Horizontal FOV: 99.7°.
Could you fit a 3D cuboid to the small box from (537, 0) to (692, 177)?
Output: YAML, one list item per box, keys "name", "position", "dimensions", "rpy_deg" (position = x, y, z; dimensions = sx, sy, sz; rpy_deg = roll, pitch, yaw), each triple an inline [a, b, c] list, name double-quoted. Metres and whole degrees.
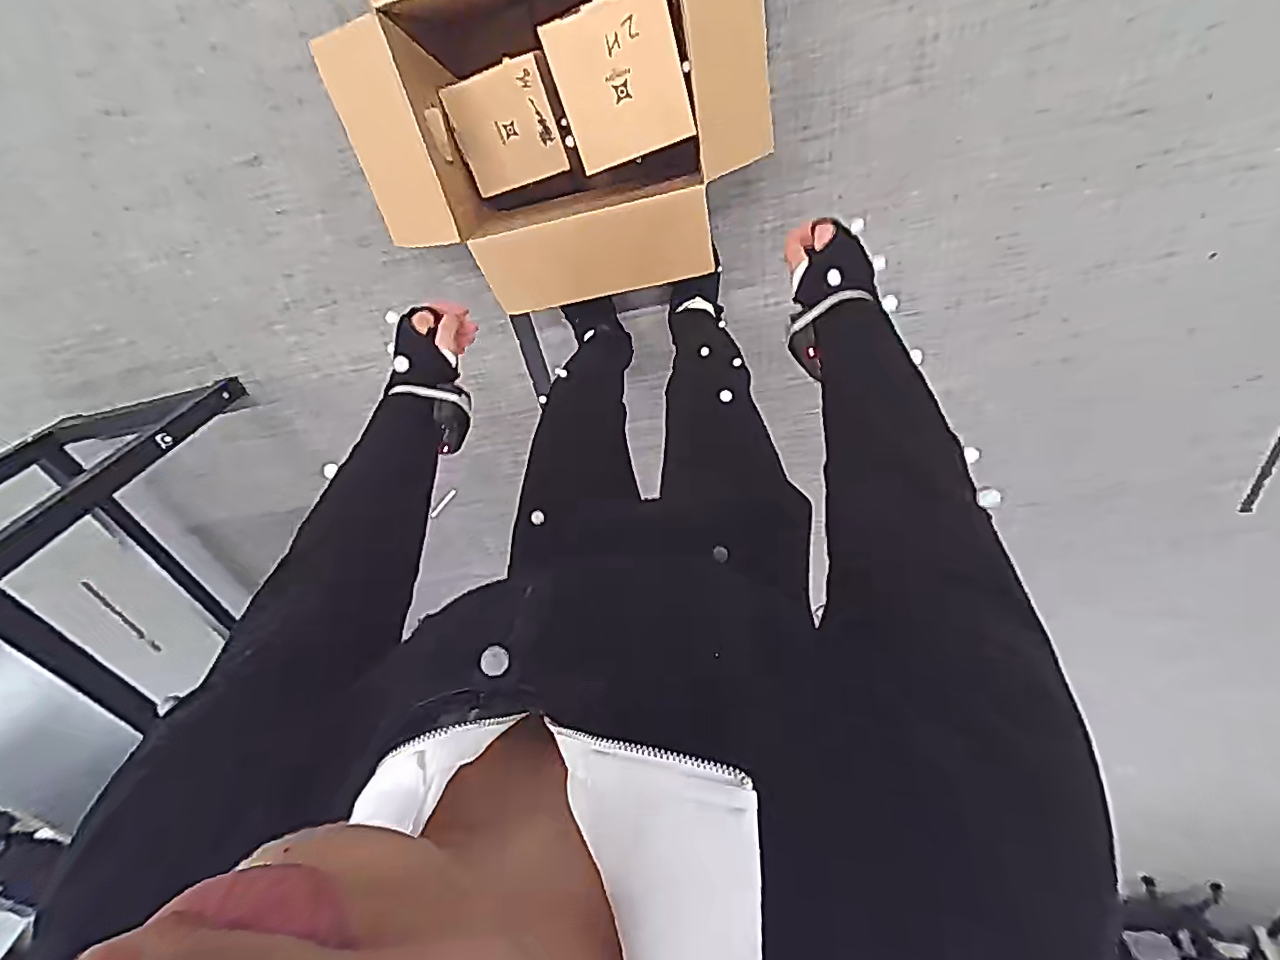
- name: "small box"
  position: [-0.029, -0.569, 0.780]
  dimensions: [0.168, 0.176, 0.179]
  rpy_deg: [-16, 125, 10]

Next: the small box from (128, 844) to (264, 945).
- name: "small box"
  position: [-1.099, 1.043, 1.364]
  dimensions: [0.179, 0.176, 0.168]
  rpy_deg: [-9, 125, 11]
